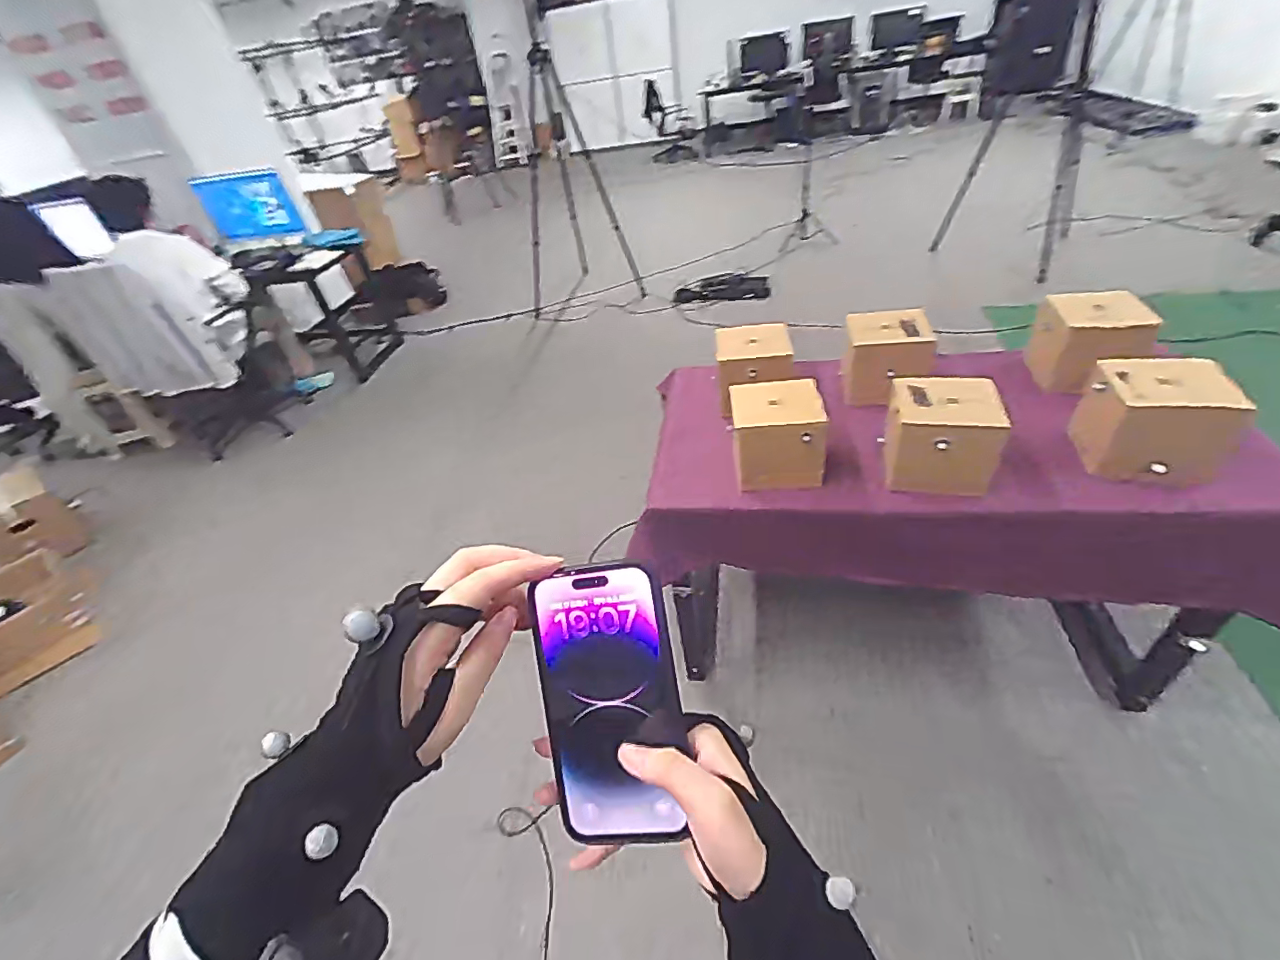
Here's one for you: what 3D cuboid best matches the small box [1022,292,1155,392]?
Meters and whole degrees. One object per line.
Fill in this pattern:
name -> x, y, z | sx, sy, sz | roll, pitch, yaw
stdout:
small box -> 1.022, -0.318, 1.255 | 0.168, 0.176, 0.179 | 2, 42, 15

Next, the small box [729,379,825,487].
small box -> 0.286, -0.098, 1.156 | 0.179, 0.176, 0.168 | -3, 40, 7

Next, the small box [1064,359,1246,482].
small box -> 0.957, -0.112, 1.027 | 0.179, 0.176, 0.168 | 5, 42, 17

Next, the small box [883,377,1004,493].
small box -> 0.590, -0.090, 1.079 | 0.179, 0.176, 0.168 | 5, 42, 16
